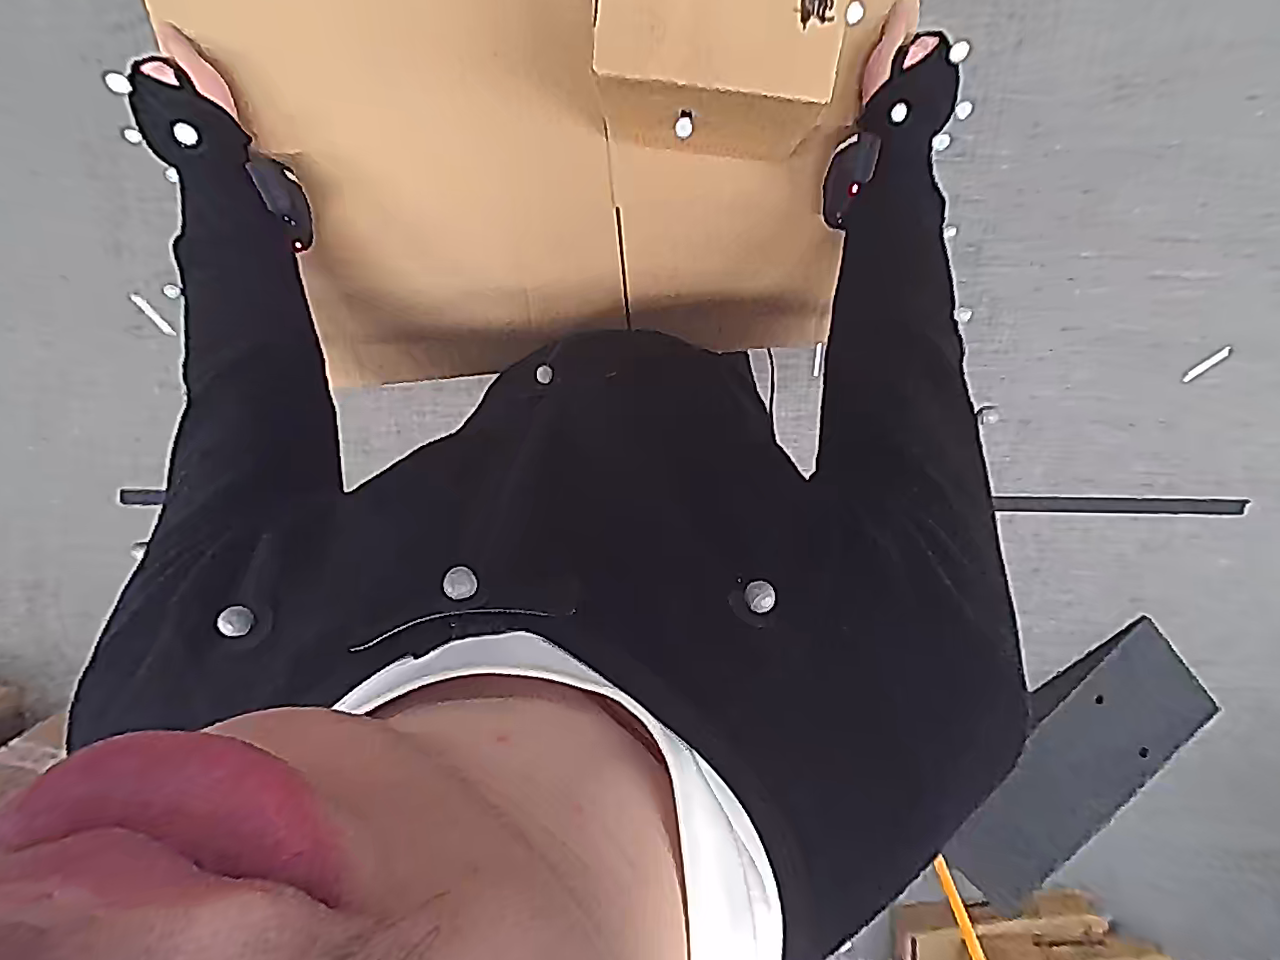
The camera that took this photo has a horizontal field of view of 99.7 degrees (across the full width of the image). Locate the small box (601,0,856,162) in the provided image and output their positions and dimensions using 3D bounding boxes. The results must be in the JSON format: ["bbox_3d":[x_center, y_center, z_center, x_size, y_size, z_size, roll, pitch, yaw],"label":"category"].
[{"bbox_3d":[0.073,-0.384,0.450,0.179,0.176,0.168,8,107,1],"label":"small box"}]
